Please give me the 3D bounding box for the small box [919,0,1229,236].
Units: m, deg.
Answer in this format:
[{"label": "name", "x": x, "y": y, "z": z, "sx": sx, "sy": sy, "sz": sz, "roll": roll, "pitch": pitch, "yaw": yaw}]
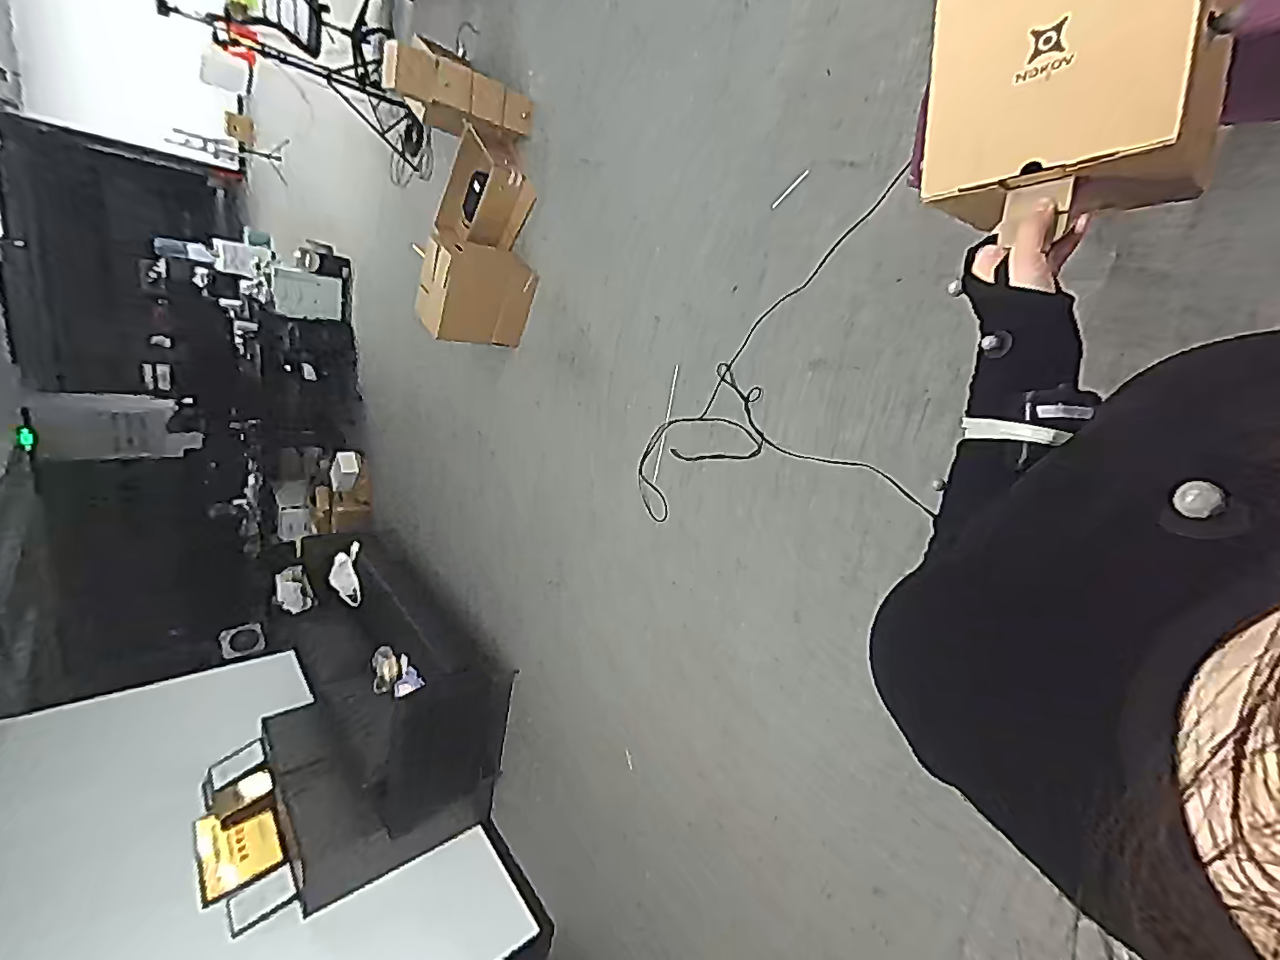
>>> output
[{"label": "small box", "x": 0.361, "y": -0.324, "z": 0.454, "sx": 0.168, "sy": 0.176, "sz": 0.179, "roll": 12, "pitch": 107, "yaw": 48}]
